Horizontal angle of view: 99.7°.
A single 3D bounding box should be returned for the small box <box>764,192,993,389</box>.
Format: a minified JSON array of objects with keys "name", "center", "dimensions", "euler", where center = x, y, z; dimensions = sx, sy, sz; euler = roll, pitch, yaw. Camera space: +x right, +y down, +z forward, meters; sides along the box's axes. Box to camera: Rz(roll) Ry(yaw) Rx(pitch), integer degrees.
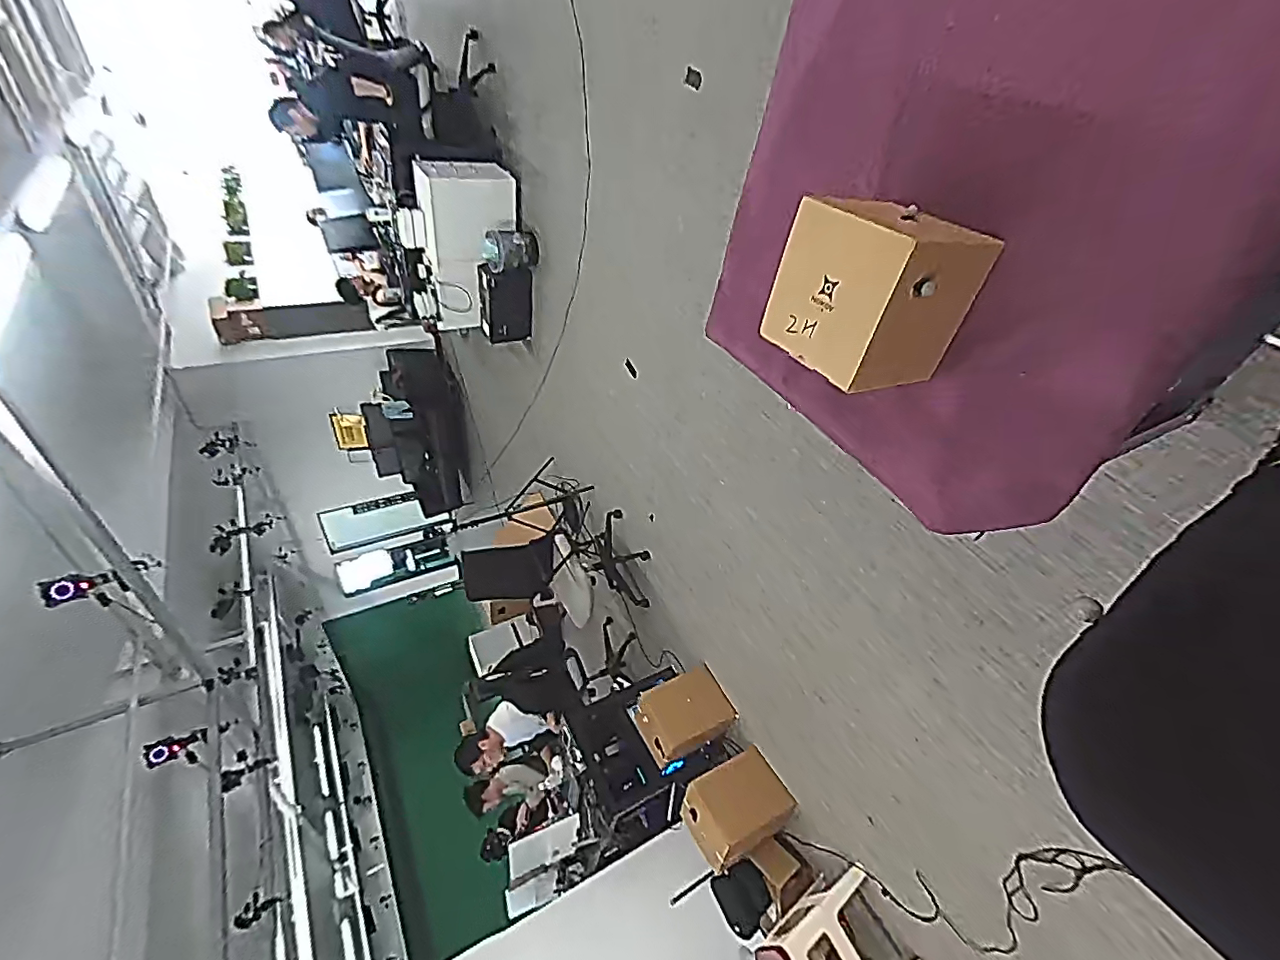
[{"name":"small box","center":[0.290,-0.236,0.668],"dimensions":[0.168,0.176,0.179],"euler":[52,143,39]}]
